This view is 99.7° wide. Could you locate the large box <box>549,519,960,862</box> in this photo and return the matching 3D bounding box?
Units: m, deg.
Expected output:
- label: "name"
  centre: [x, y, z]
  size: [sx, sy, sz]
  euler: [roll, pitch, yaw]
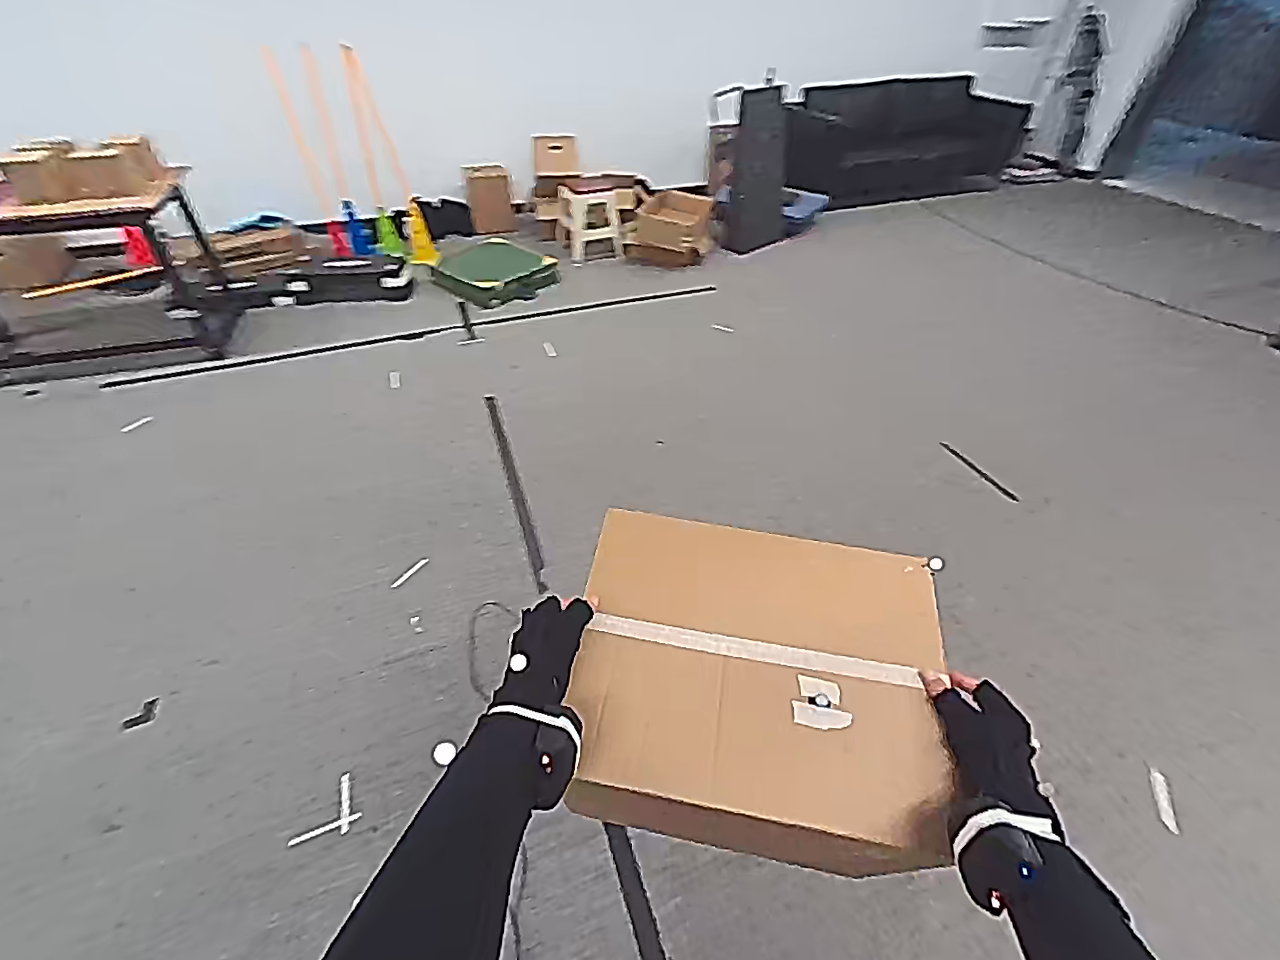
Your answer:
- label: "large box"
  centre: [0.121, 0.284, 0.724]
  size: [0.408, 0.320, 0.320]
  euler: [8, 53, 5]
